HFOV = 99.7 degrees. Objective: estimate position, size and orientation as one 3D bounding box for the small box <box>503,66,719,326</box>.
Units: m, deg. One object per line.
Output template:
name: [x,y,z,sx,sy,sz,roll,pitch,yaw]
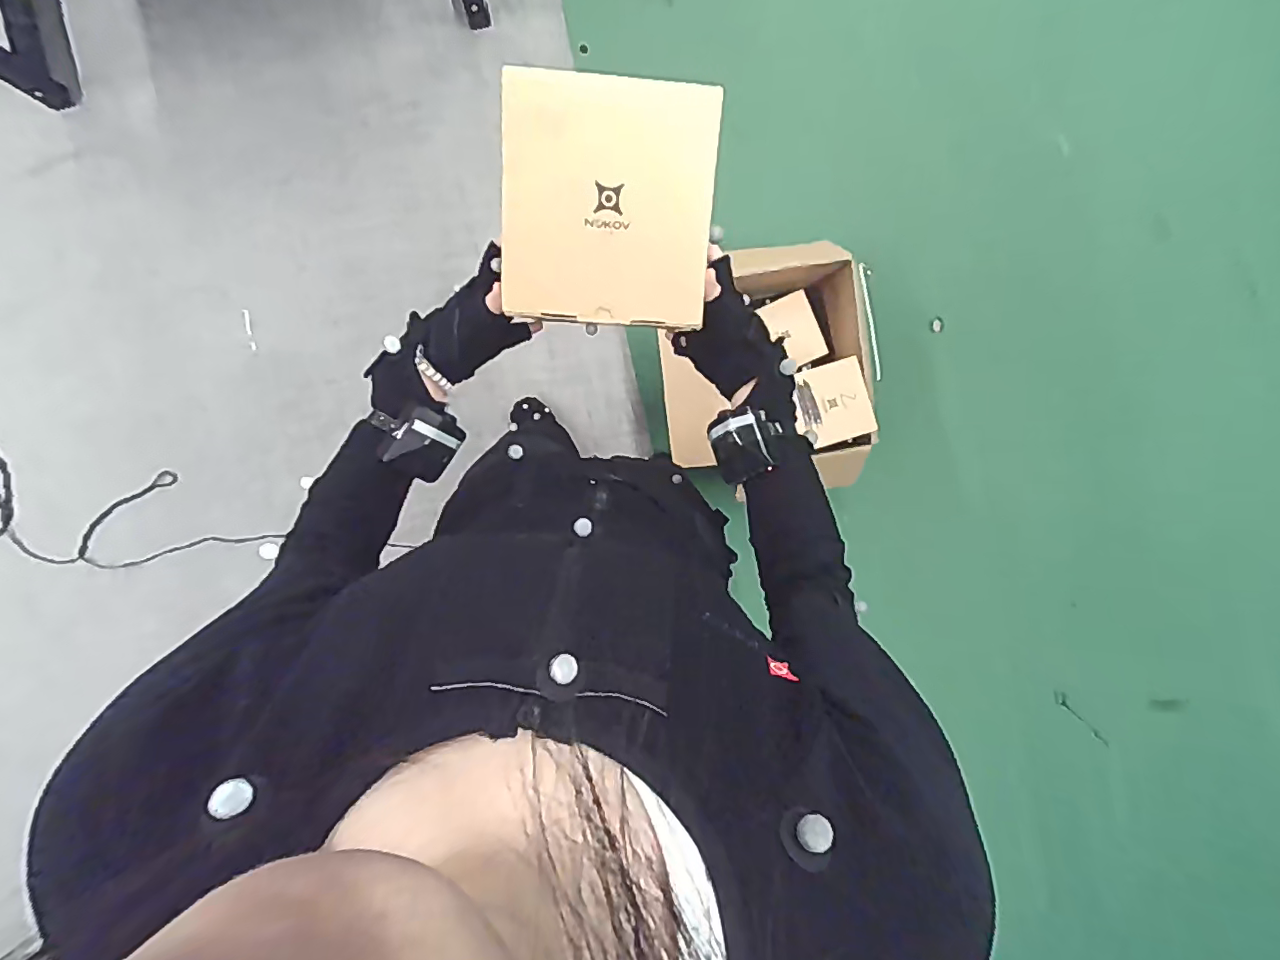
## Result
small box: [-0.032,-0.242,0.507,0.168,0.176,0.179,3,107,-5]
